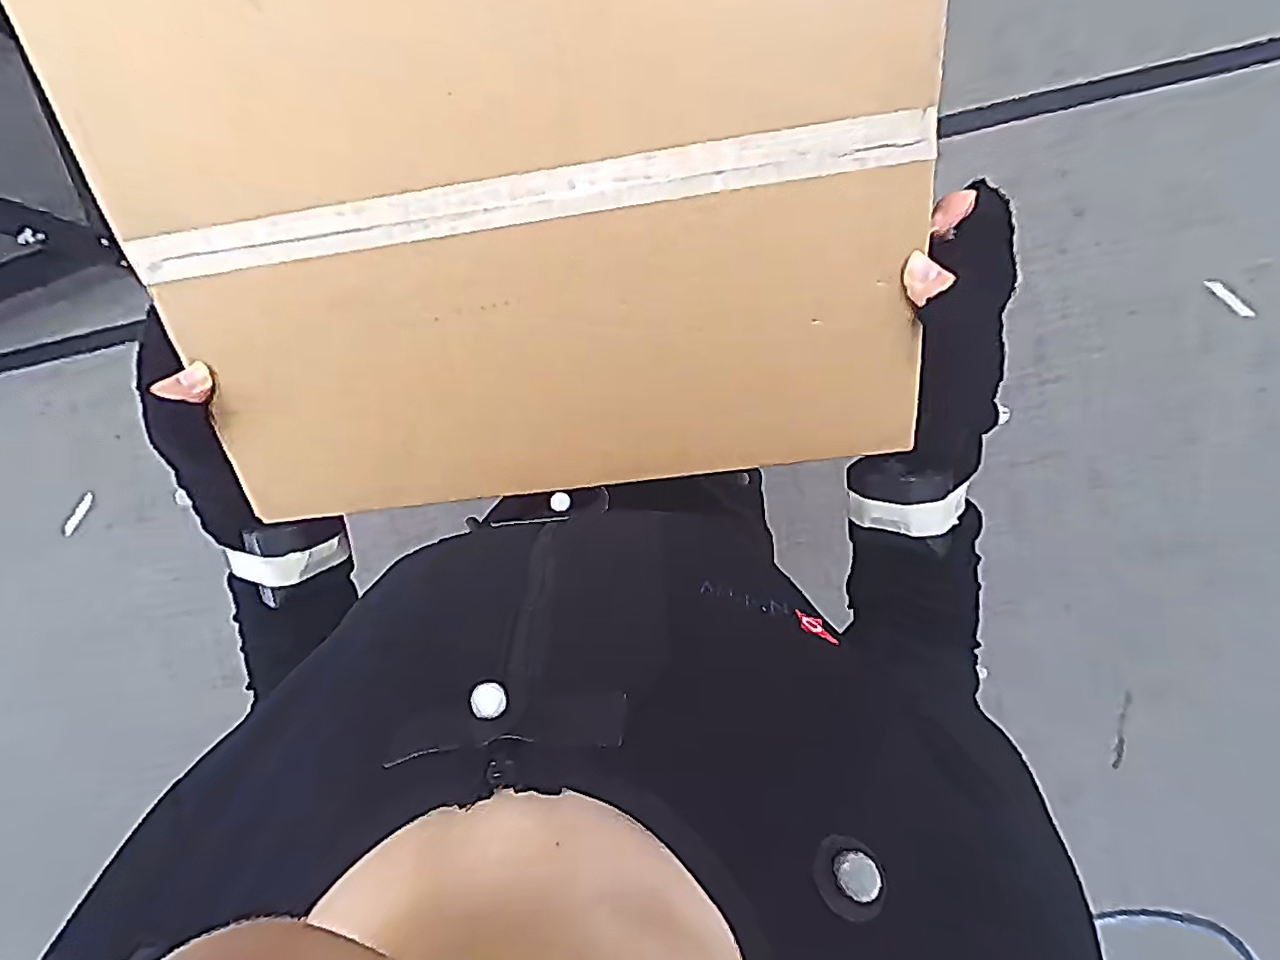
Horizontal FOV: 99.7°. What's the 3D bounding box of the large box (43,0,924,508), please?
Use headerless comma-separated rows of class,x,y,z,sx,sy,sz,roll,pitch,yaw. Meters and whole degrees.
large box,-0.061,-0.203,0.413,0.408,0.320,0.320,-7,115,5
